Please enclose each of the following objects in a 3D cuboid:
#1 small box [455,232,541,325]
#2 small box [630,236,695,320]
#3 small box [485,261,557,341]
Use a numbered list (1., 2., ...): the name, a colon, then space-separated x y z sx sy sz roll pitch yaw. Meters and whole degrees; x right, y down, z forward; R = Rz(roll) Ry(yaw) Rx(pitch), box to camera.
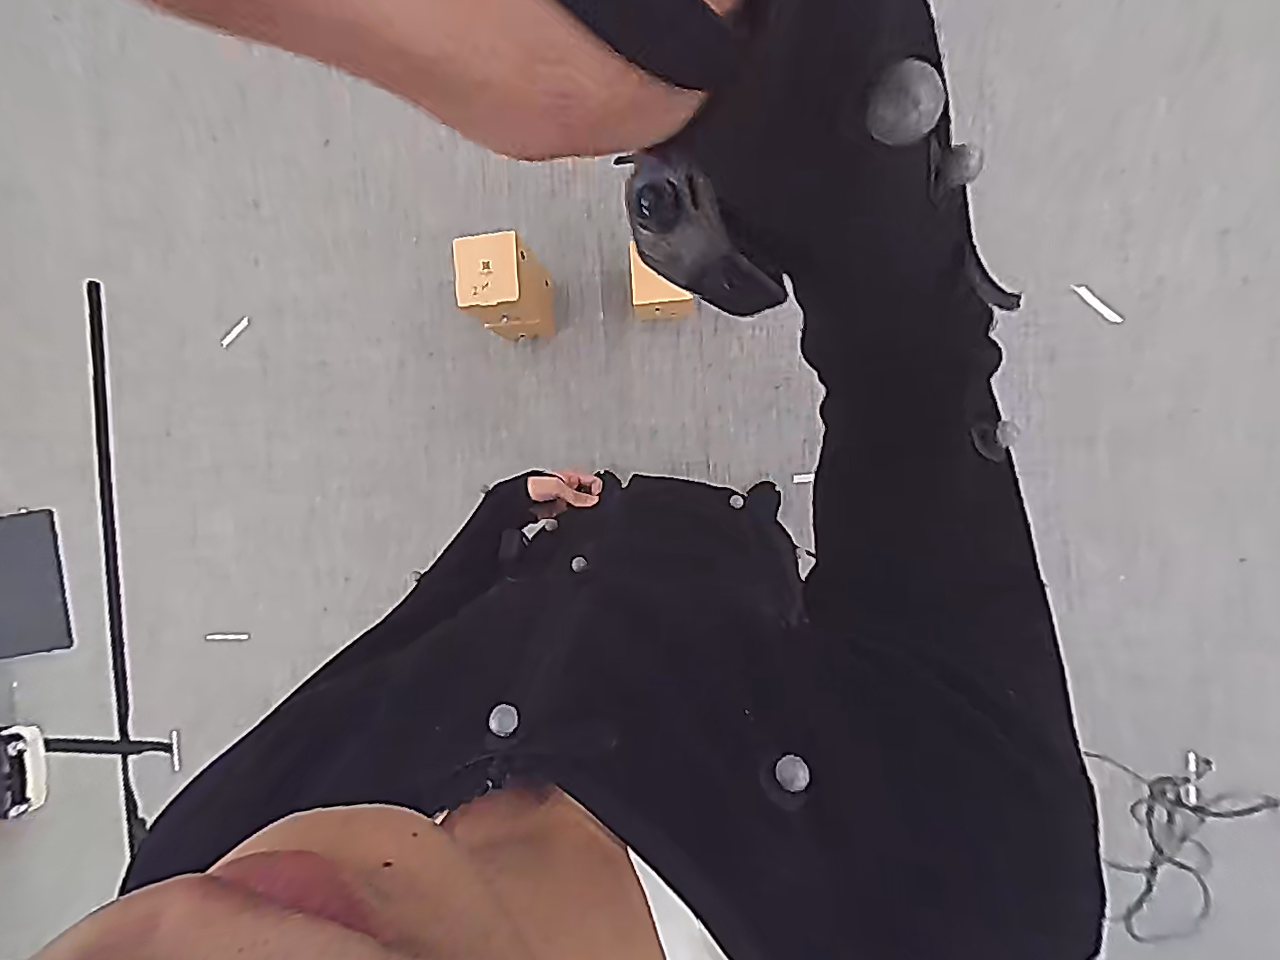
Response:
1. small box: -0.367 -0.520 1.414 0.168 0.176 0.179 -3 92 9
2. small box: 0.068 -0.561 1.527 0.168 0.176 0.179 -4 90 7
3. small box: -0.346 -0.516 1.577 0.168 0.176 0.179 -3 91 8
